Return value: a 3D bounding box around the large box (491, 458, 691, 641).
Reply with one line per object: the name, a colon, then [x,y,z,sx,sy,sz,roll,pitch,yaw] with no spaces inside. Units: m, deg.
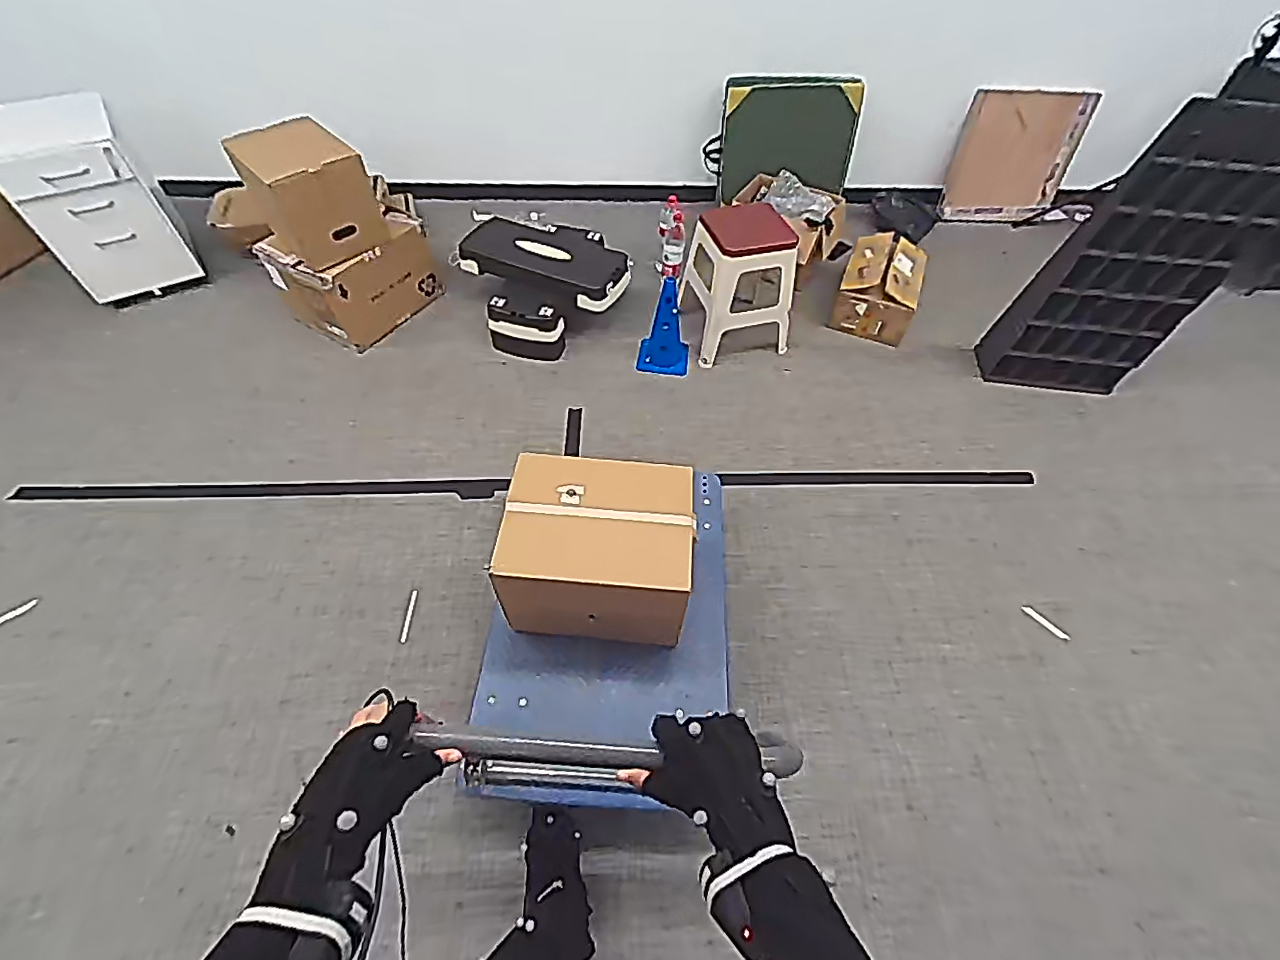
large box: [-0.092,0.172,1.279,0.408,0.320,0.320,5,54,2]
